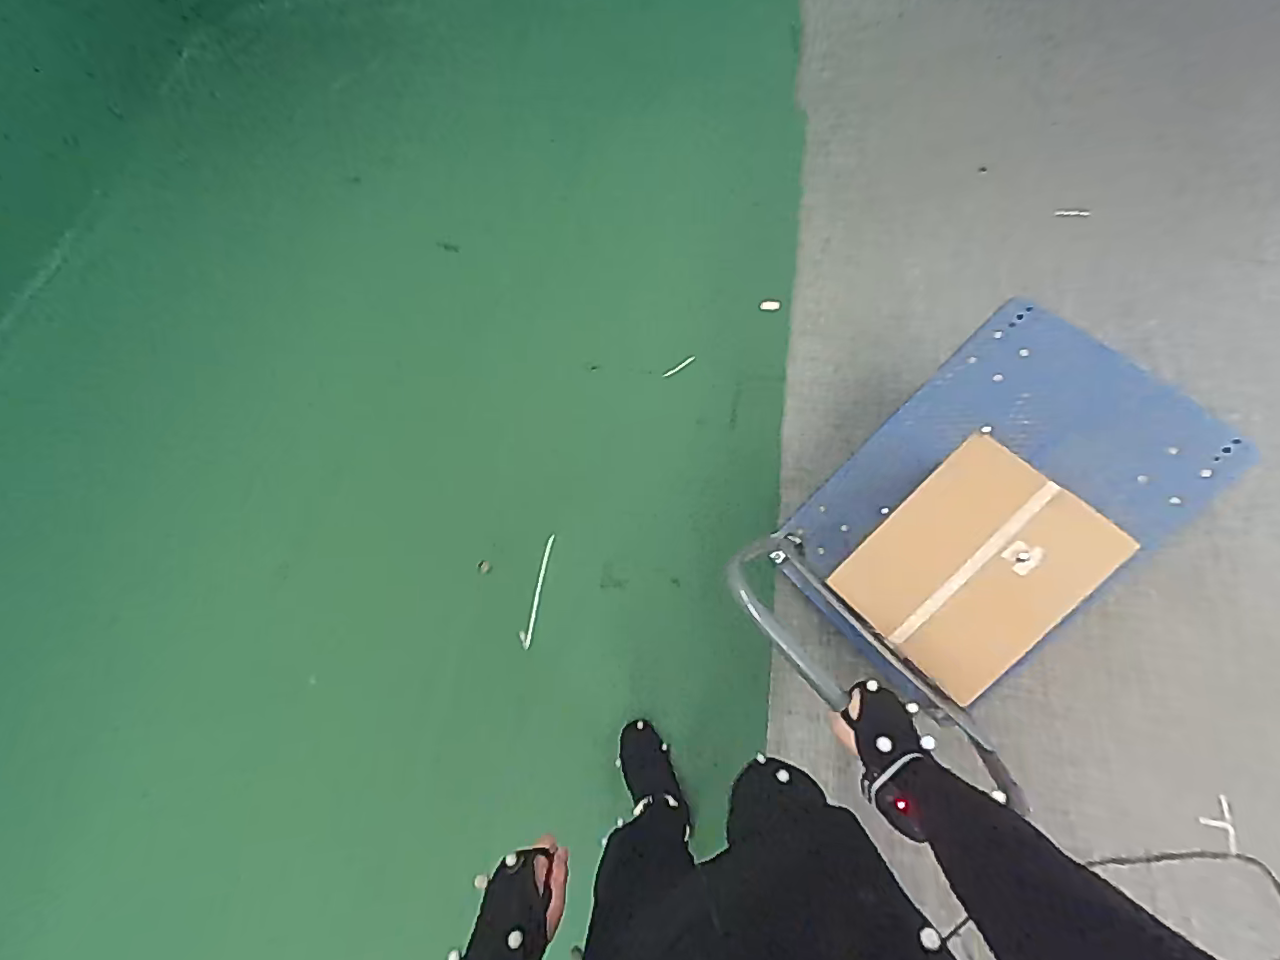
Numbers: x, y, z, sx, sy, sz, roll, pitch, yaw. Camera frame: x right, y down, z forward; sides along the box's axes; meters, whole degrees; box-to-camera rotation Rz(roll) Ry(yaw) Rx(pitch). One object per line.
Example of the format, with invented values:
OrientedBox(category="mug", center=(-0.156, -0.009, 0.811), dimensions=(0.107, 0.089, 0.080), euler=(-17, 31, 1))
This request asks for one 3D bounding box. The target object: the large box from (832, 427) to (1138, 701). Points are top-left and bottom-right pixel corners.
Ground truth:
OrientedBox(category="large box", center=(0.650, 0.170, 1.110), dimensions=(0.408, 0.320, 0.320), euler=(-47, 70, 6))
